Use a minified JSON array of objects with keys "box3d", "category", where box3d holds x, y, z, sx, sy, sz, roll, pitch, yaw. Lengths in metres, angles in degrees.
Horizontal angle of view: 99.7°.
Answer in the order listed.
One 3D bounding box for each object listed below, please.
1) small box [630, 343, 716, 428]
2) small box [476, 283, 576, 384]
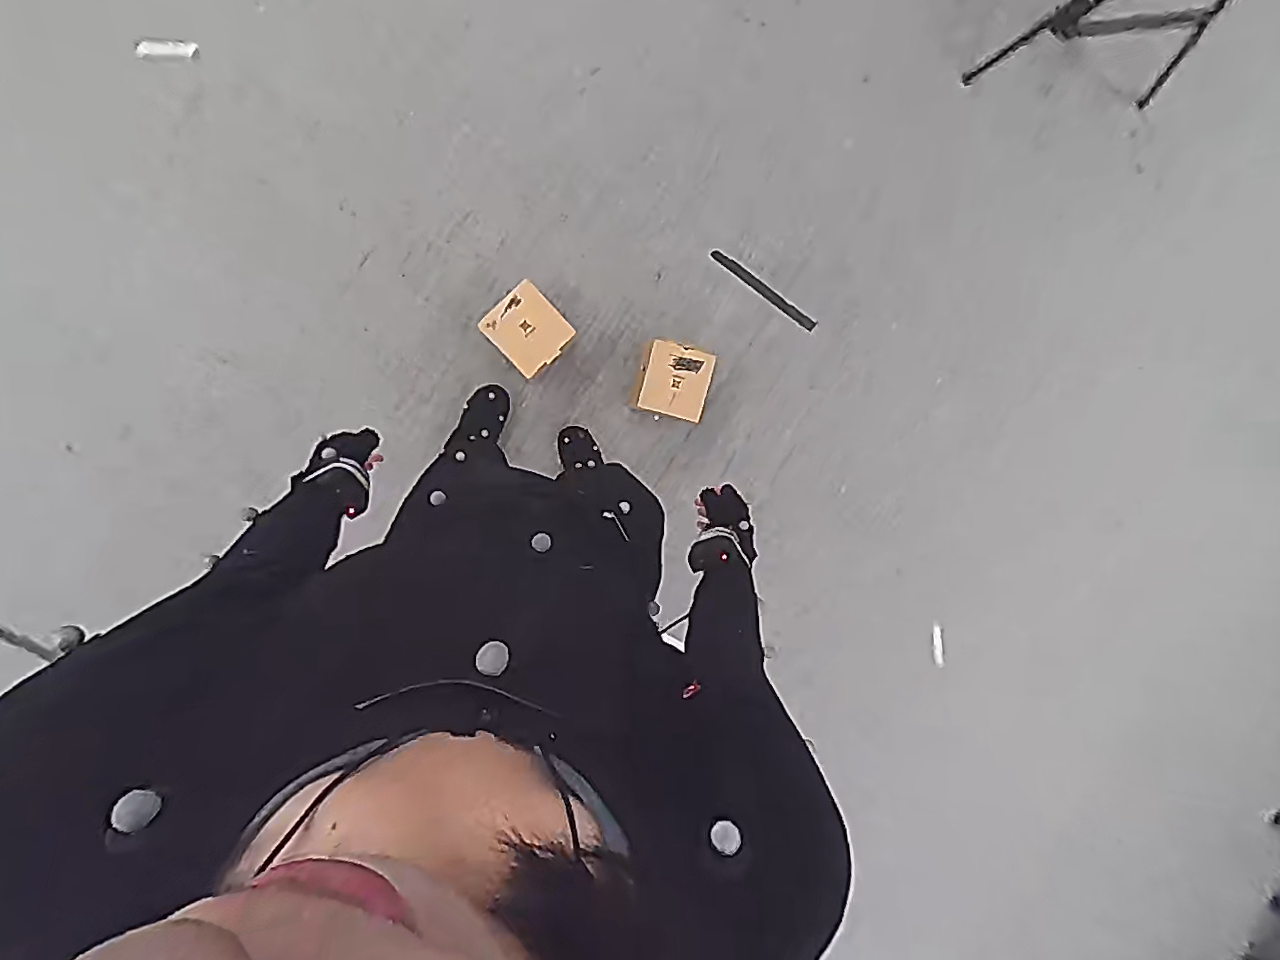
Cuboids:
[{"box3d":[0.079,-0.245,1.423,0.168,0.176,0.179,15,95,-10],"category":"small box"},{"box3d":[-0.279,-0.358,1.356,0.168,0.176,0.179,-43,101,-2],"category":"small box"}]
